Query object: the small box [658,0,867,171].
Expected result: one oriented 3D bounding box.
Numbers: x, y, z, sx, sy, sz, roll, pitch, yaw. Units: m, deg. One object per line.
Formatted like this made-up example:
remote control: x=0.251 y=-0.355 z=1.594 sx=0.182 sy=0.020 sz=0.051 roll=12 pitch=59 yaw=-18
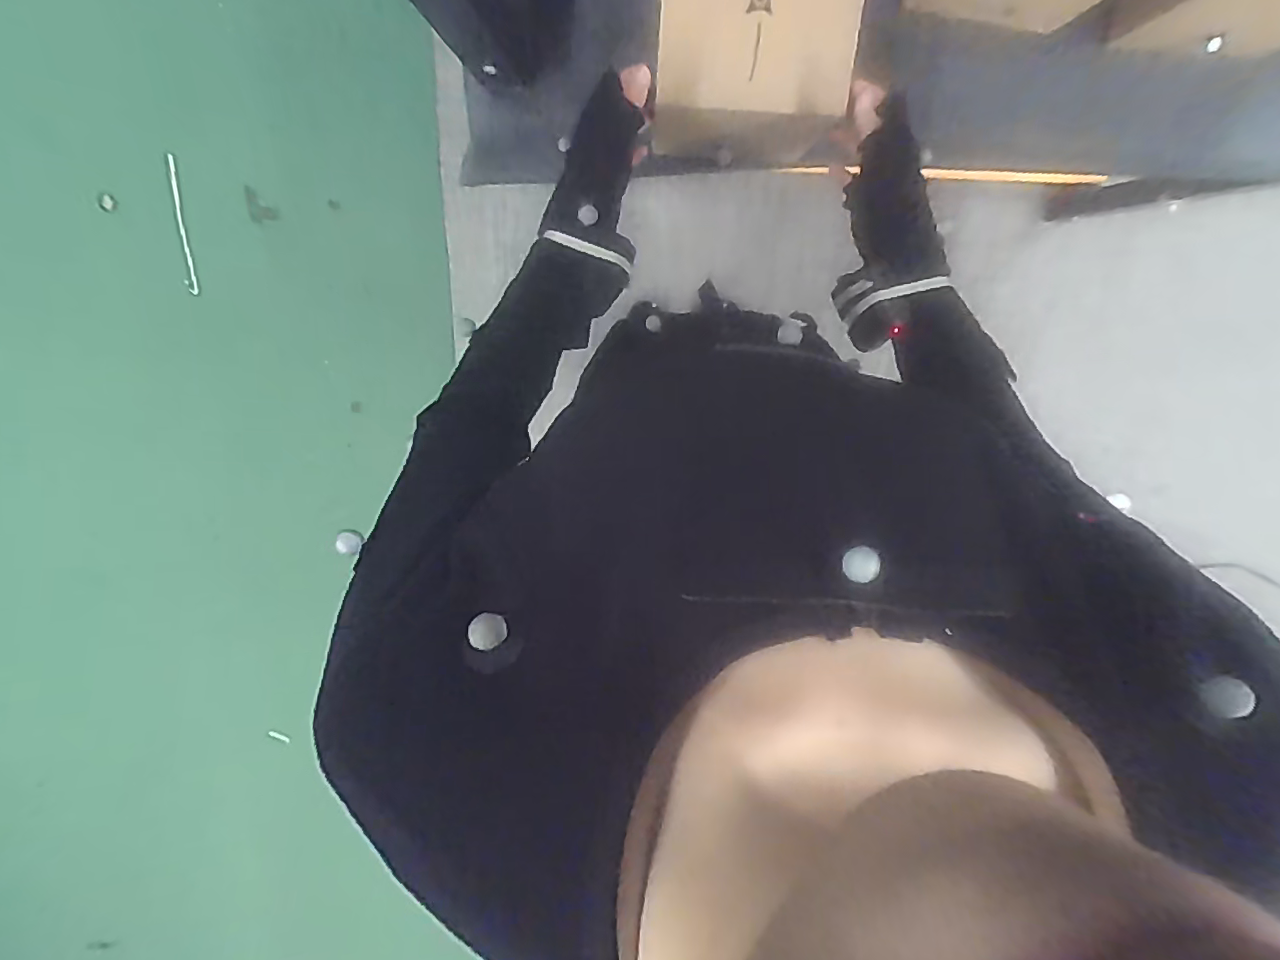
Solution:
small box: x=0.105 y=-0.418 z=0.517 sx=0.168 sy=0.176 sz=0.179 roll=4 pitch=109 yaw=1
